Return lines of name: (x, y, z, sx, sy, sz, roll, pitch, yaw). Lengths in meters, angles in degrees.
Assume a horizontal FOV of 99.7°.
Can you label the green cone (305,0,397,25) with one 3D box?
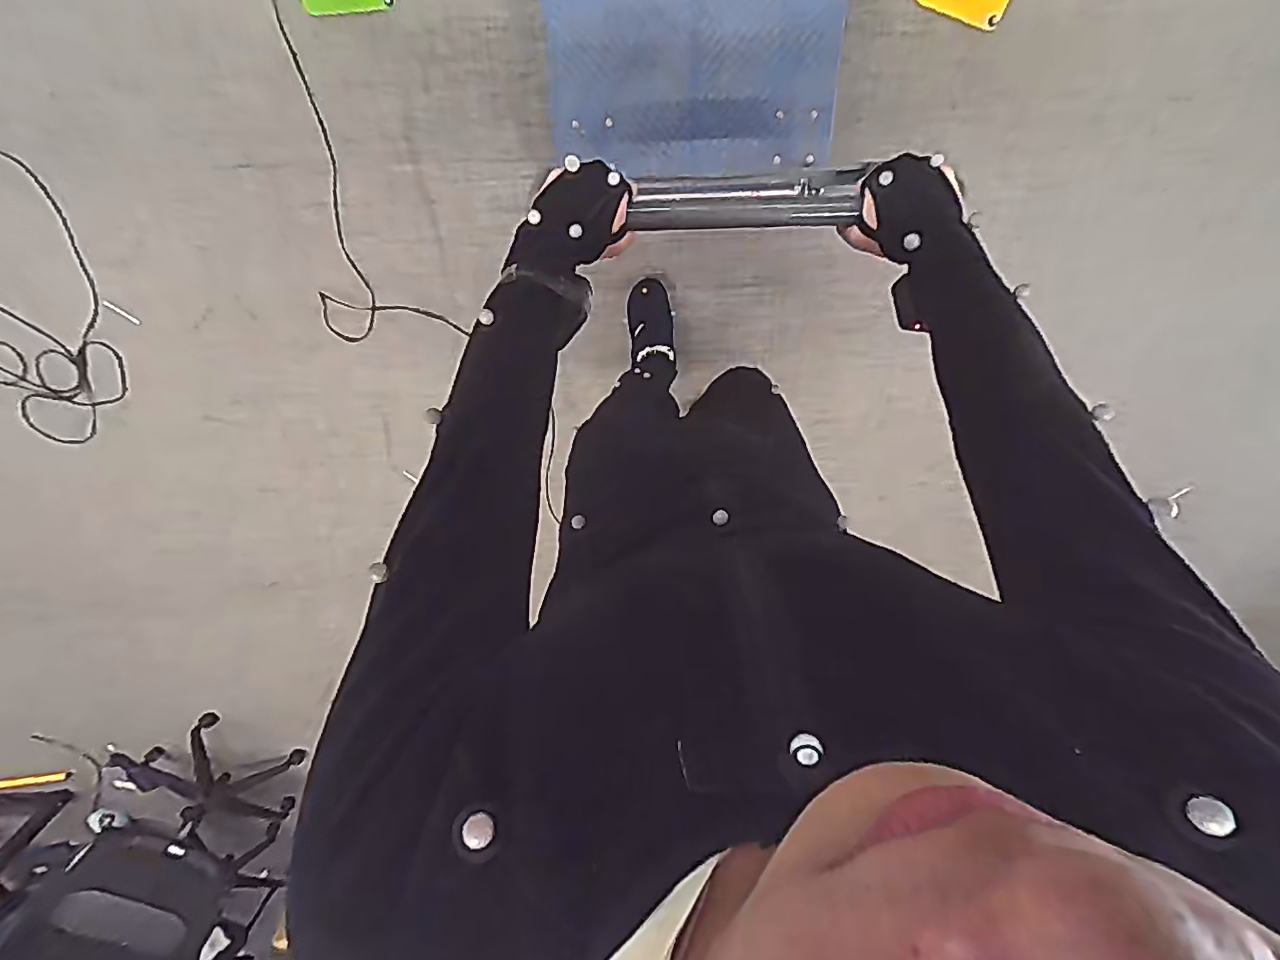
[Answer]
green cone: (-0.625, -1.000, 0.966, 0.202, 0.368, 0.200, -3, 117, 4)
